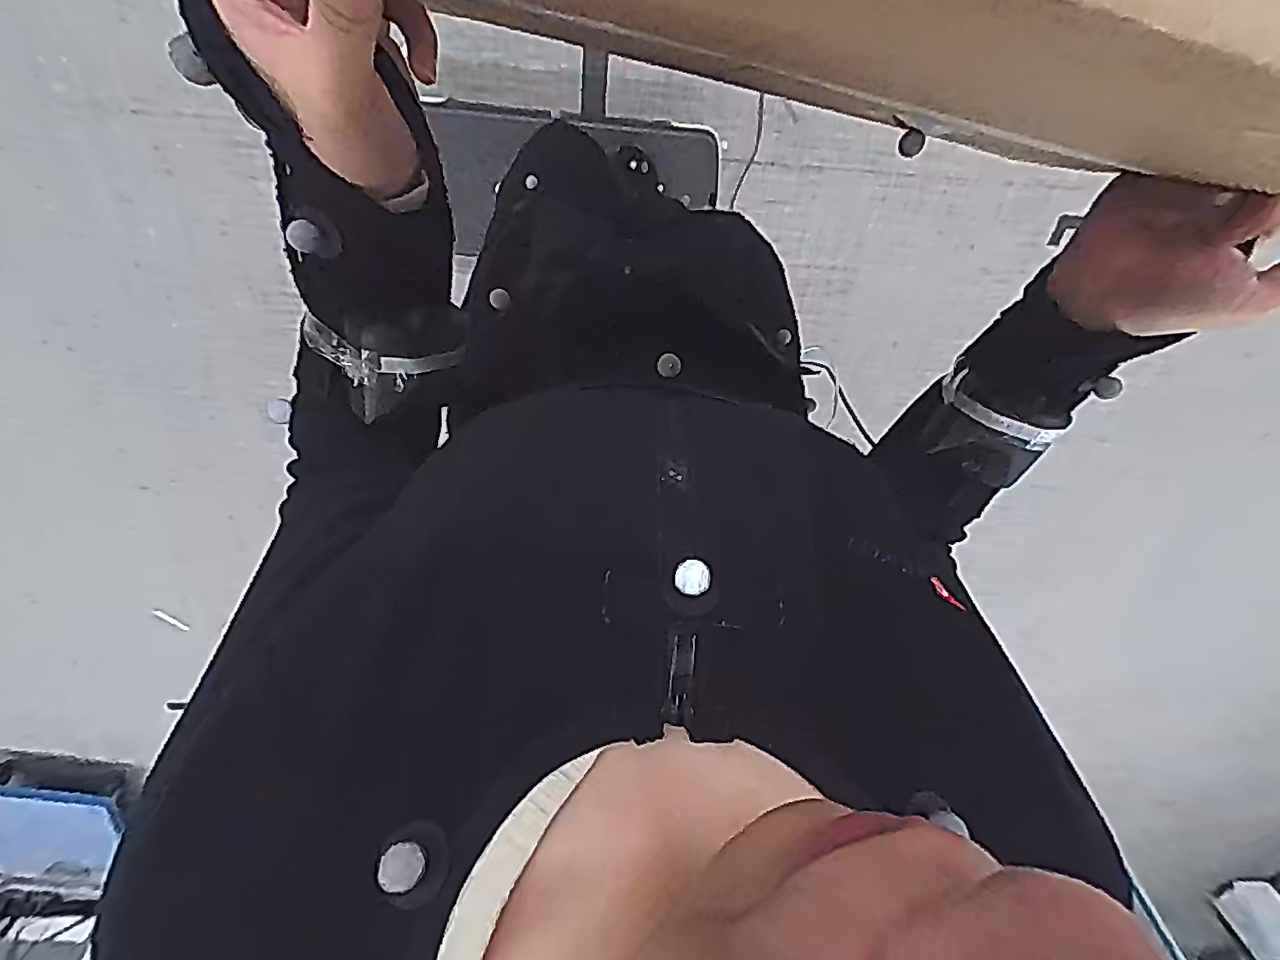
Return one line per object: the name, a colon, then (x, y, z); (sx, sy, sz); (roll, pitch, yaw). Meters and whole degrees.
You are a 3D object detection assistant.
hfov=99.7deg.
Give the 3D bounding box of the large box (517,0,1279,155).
large box: (0.110, -0.299, 0.128); (0.408, 0.320, 0.320); (5, 125, -10)
